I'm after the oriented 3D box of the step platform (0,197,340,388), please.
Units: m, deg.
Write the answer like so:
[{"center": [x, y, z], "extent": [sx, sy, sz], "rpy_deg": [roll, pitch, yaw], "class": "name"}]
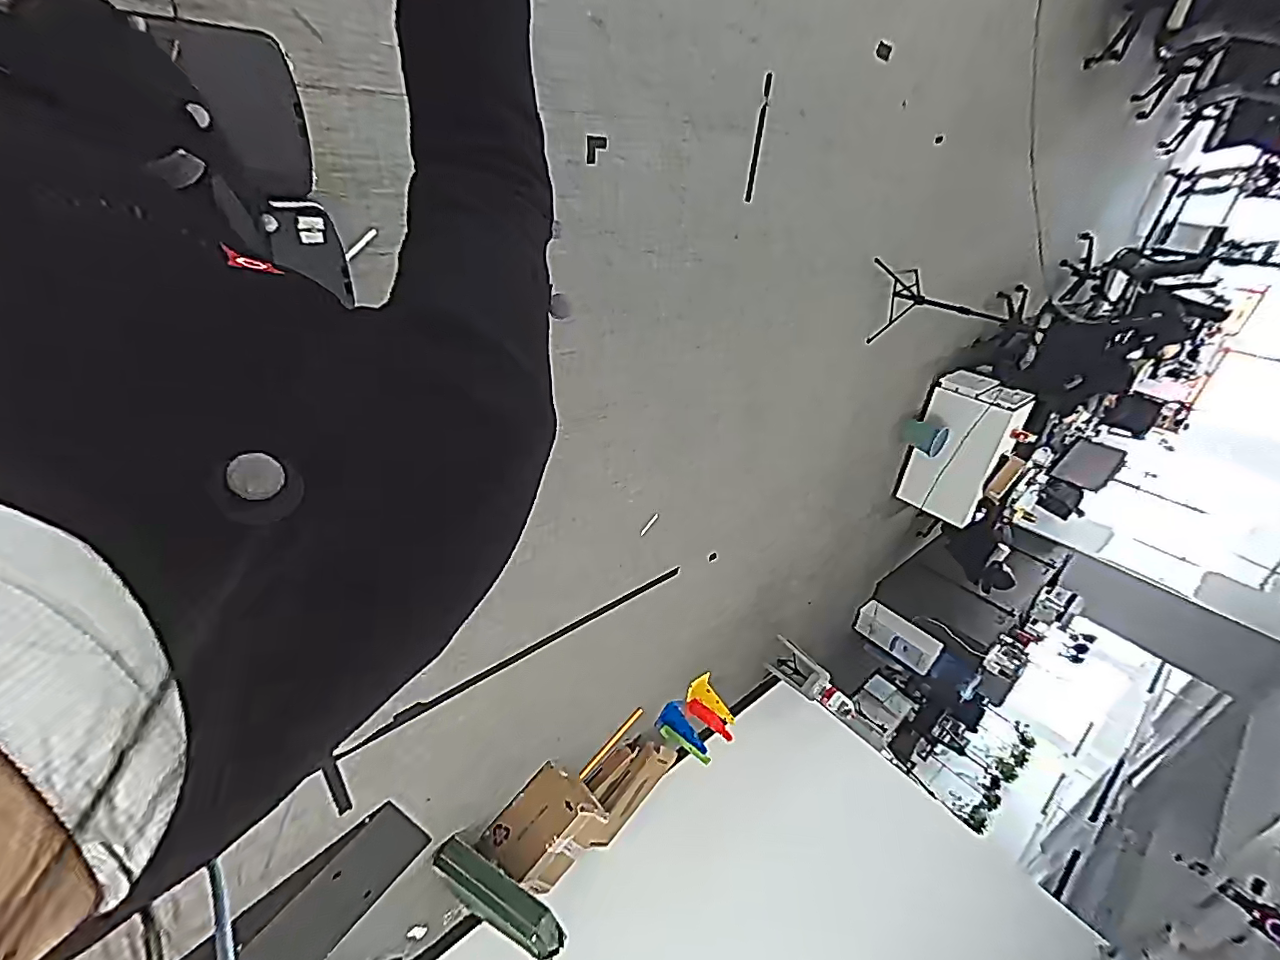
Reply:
[{"center": [-0.969, -0.374, 1.038], "extent": [0.684, 0.204, 0.286], "rpy_deg": [-20, 129, -33], "class": "step platform"}]
